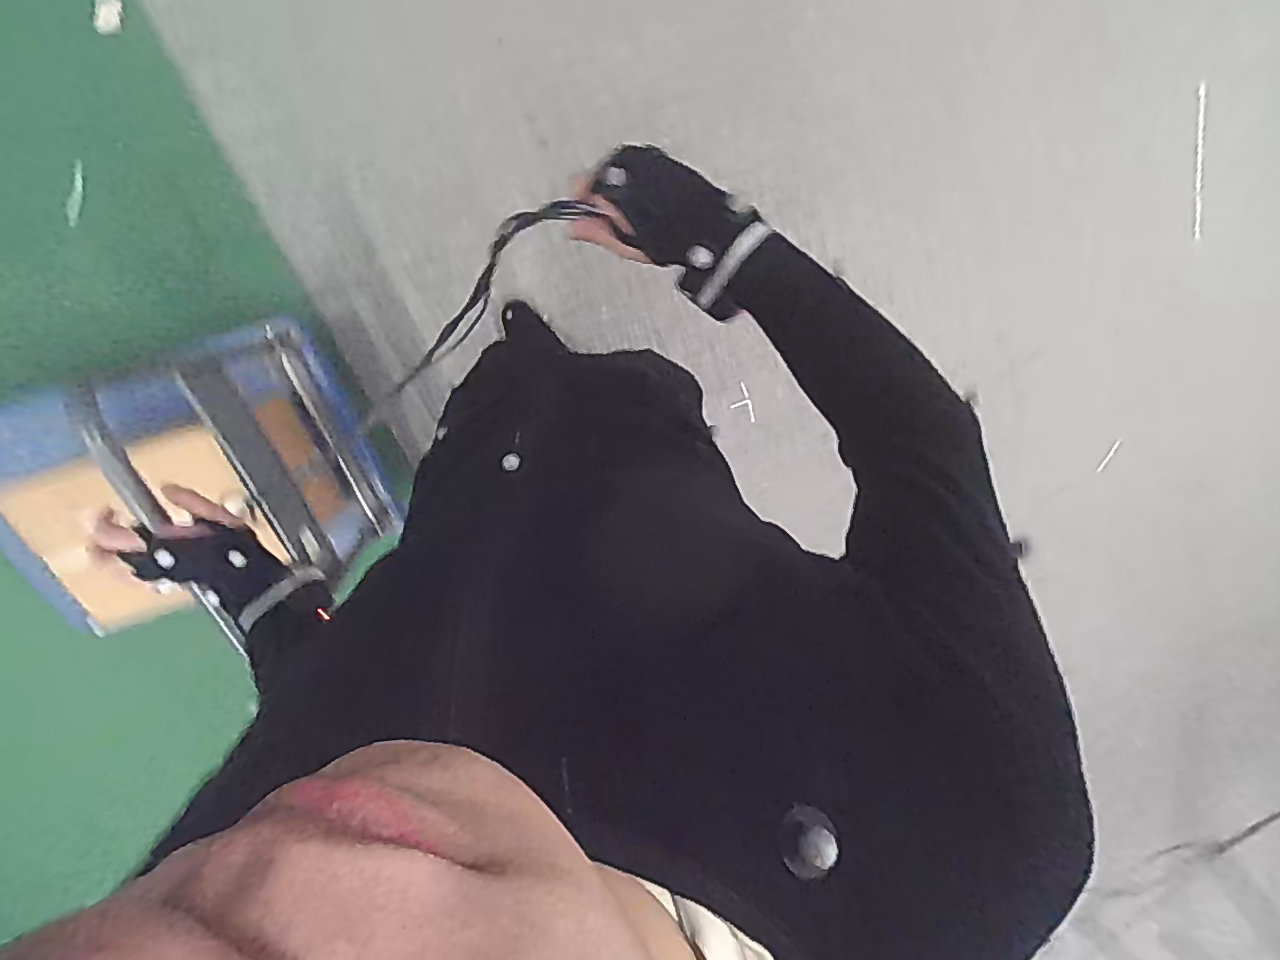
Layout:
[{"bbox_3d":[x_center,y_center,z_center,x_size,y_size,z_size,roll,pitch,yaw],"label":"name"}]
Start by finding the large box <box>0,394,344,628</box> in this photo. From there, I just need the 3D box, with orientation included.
[{"bbox_3d":[-0.953,0.047,1.172,0.408,0.320,0.320,-18,113,-2],"label":"large box"}]
